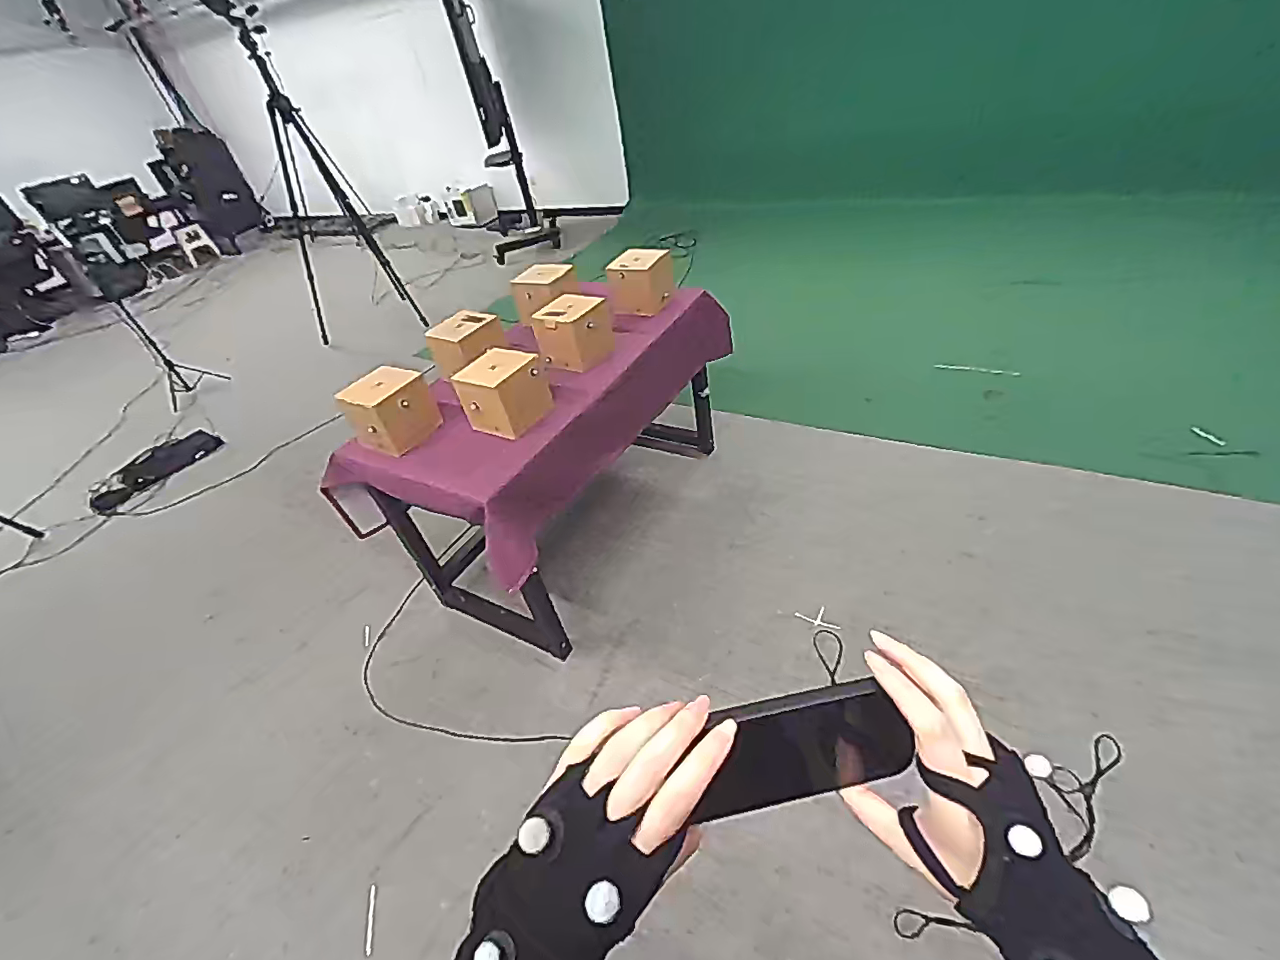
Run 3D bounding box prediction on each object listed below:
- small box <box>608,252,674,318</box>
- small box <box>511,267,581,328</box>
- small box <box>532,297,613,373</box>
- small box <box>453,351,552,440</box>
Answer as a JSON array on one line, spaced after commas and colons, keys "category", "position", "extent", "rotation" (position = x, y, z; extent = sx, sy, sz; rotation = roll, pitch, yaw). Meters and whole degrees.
[{"category": "small box", "position": [0.010, -0.692, 1.915], "extent": [0.168, 0.176, 0.179], "rotation": [13, 46, 28]}, {"category": "small box", "position": [-0.331, -0.659, 1.963], "extent": [0.179, 0.176, 0.168], "rotation": [13, 46, 26]}, {"category": "small box", "position": [-0.201, -0.453, 1.690], "extent": [0.168, 0.176, 0.179], "rotation": [17, 47, 30]}, {"category": "small box", "position": [-0.364, -0.230, 1.470], "extent": [0.168, 0.176, 0.179], "rotation": [15, 46, 29]}]
